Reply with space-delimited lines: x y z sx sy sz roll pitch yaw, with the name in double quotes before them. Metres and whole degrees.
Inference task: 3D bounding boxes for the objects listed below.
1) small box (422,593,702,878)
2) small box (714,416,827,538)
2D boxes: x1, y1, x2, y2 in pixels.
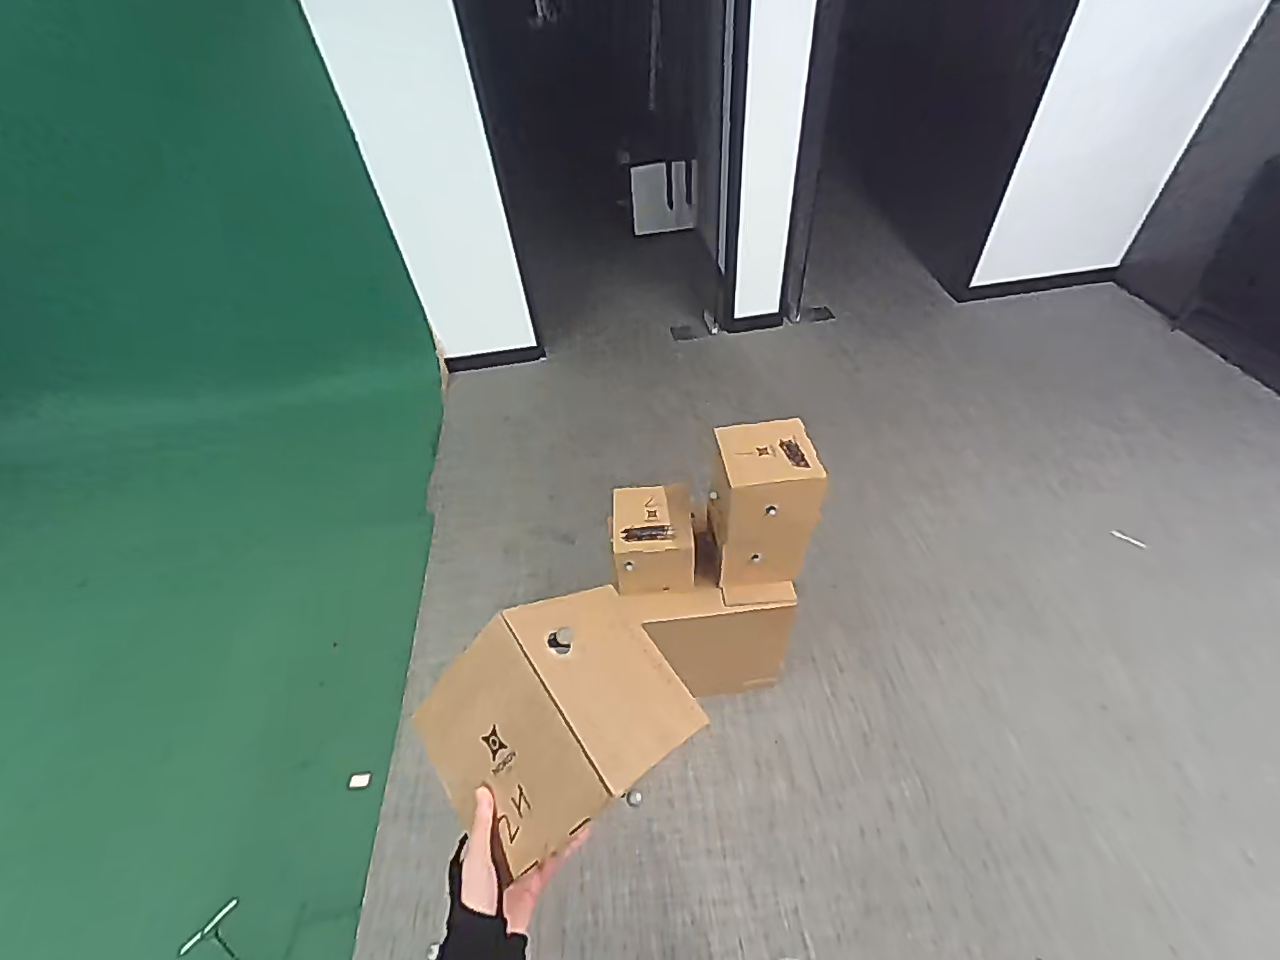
"small box" -0.074 0.228 0.536 0.179 0.168 0.176 50 24 23
"small box" 0.247 -0.002 1.070 0.179 0.176 0.168 -7 48 0
